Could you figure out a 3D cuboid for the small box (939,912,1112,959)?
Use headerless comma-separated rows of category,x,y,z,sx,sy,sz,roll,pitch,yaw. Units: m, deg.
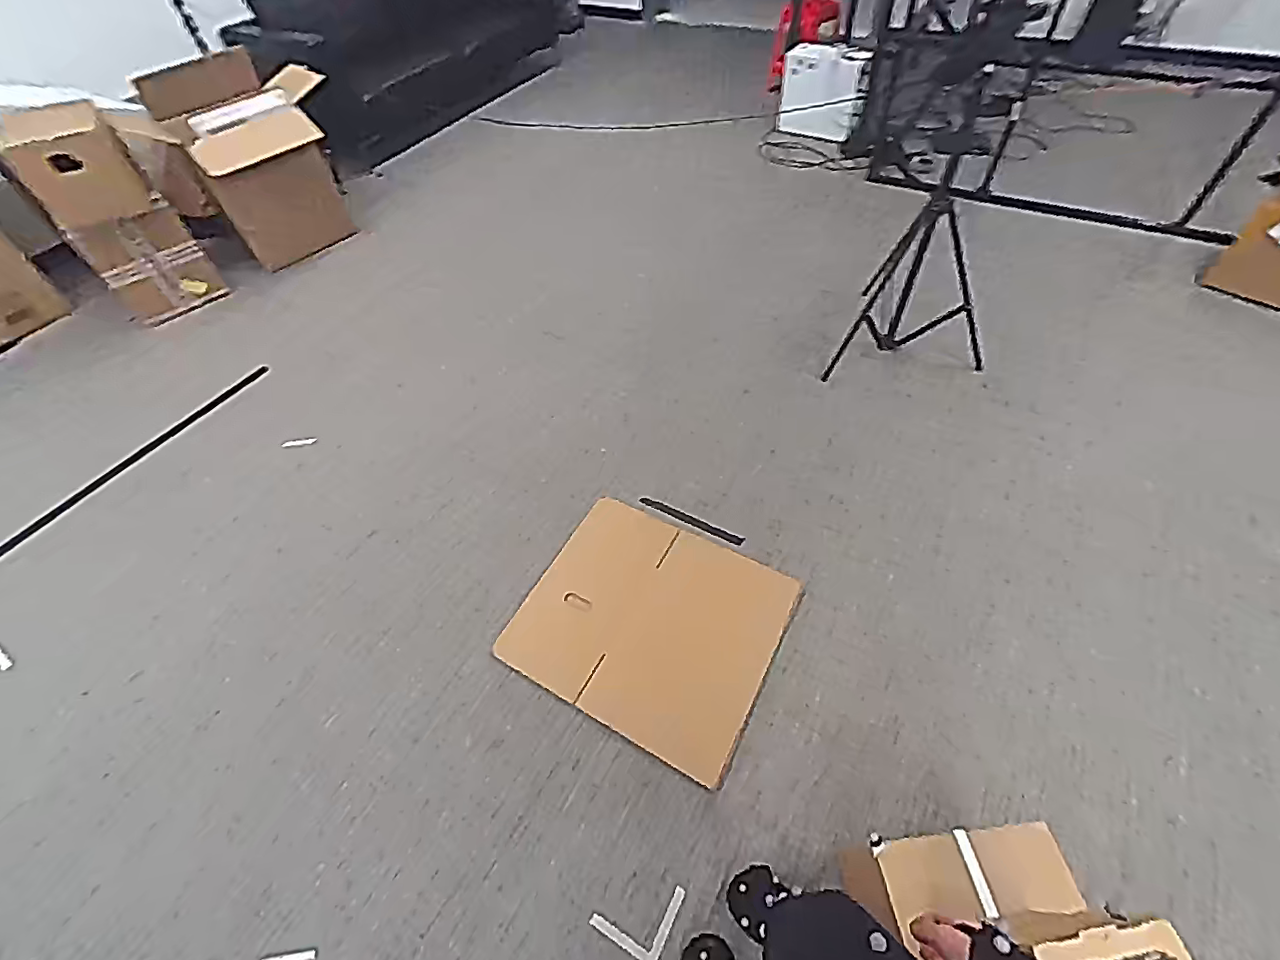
small box,0.559,0.728,0.758,0.168,0.176,0.179,-10,54,-1
